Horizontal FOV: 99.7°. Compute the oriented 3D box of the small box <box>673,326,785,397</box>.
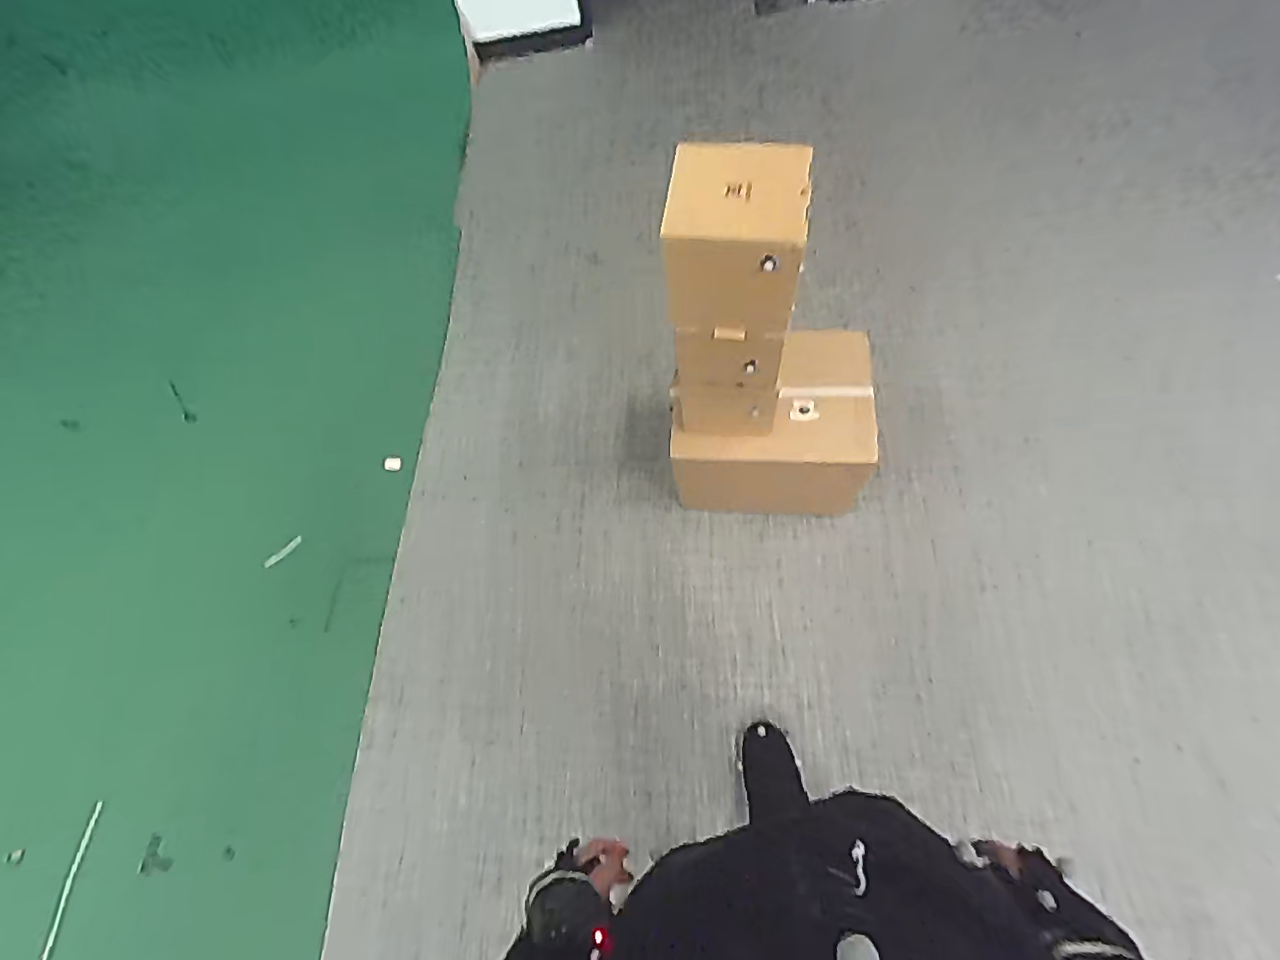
[{"bbox_3d":[0.150,-0.253,0.893,0.168,0.176,0.179,5,67,9],"label":"small box"}]

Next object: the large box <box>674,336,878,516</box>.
[{"bbox_3d":[0.291,-0.111,1.257,0.408,0.320,0.320,2,68,9],"label":"large box"}]

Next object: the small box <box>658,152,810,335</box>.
[{"bbox_3d":[0.128,-0.318,0.745,0.179,0.176,0.168,6,67,9],"label":"small box"}]
